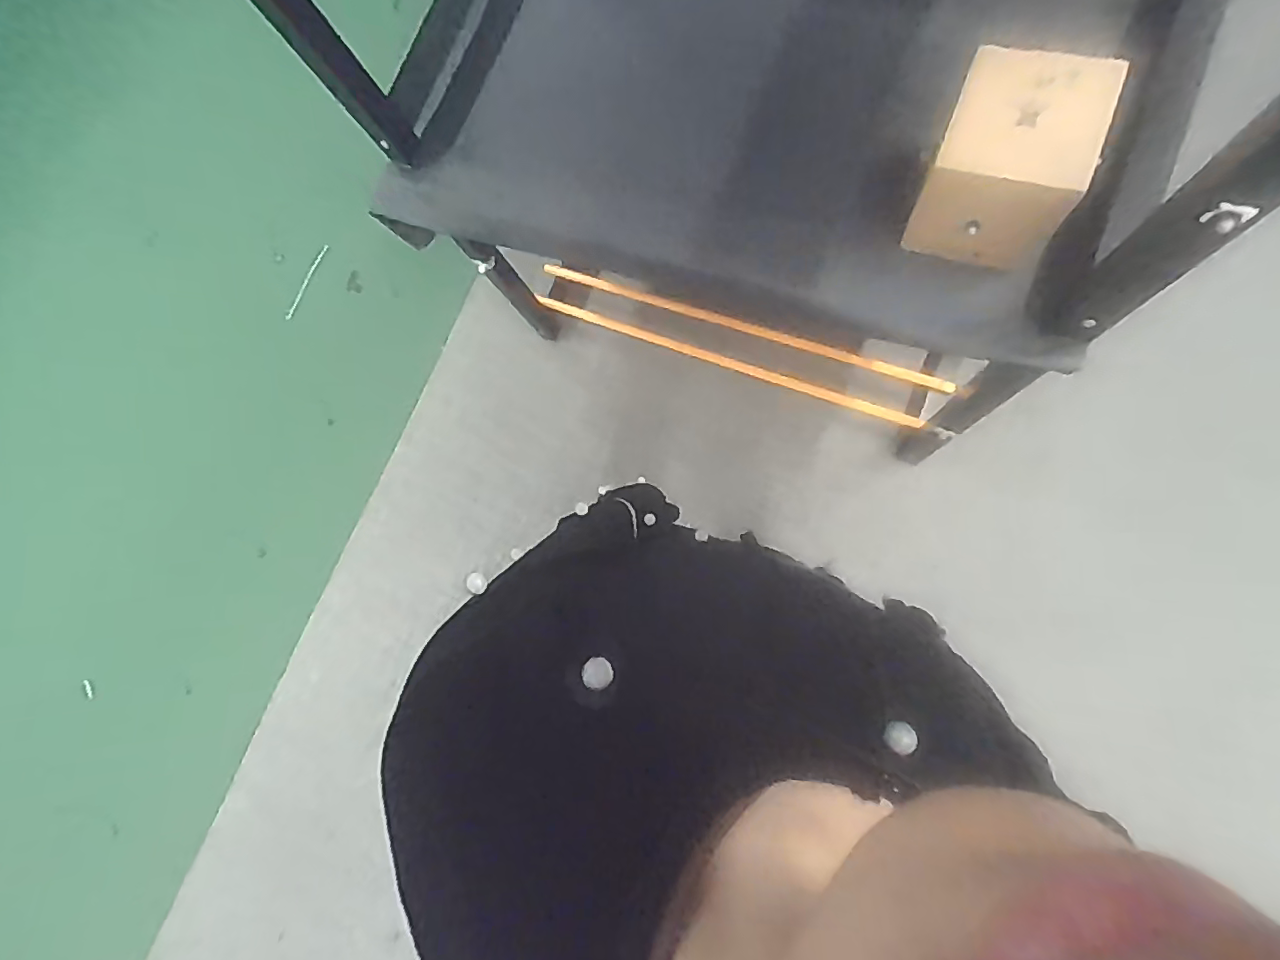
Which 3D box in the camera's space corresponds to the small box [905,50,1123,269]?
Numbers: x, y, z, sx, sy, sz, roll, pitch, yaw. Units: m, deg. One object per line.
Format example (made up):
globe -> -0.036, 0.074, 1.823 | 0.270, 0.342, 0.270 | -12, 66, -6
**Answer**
small box -> 0.473, -0.411, 0.715 | 0.168, 0.176, 0.179 | 20, 83, 15
